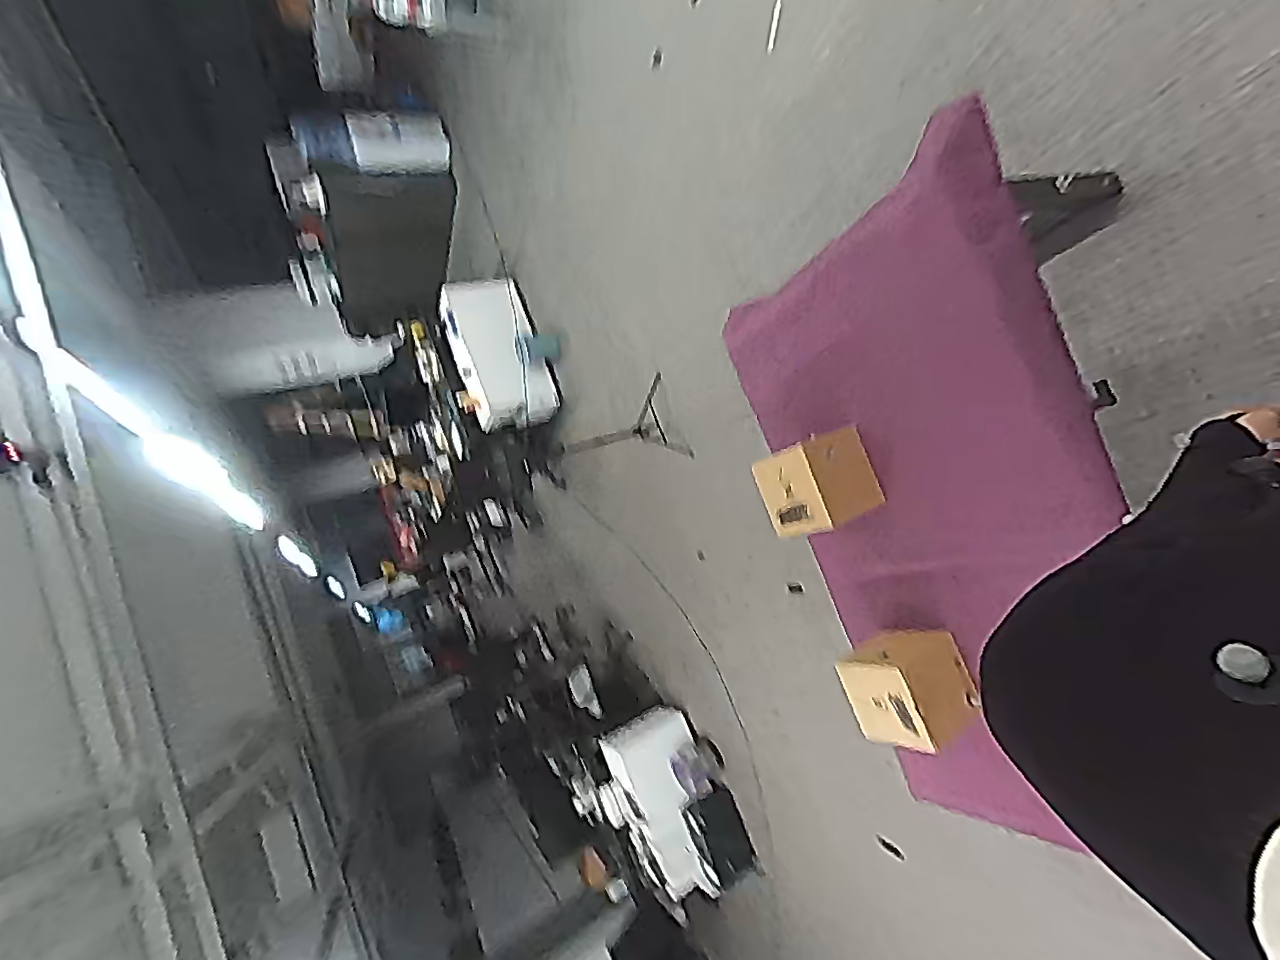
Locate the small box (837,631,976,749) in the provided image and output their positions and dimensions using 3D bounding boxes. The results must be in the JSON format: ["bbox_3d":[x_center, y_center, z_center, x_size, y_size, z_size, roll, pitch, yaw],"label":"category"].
[{"bbox_3d":[0.553,0.420,1.113,0.179,0.176,0.168,-33,77,62],"label":"small box"}]
